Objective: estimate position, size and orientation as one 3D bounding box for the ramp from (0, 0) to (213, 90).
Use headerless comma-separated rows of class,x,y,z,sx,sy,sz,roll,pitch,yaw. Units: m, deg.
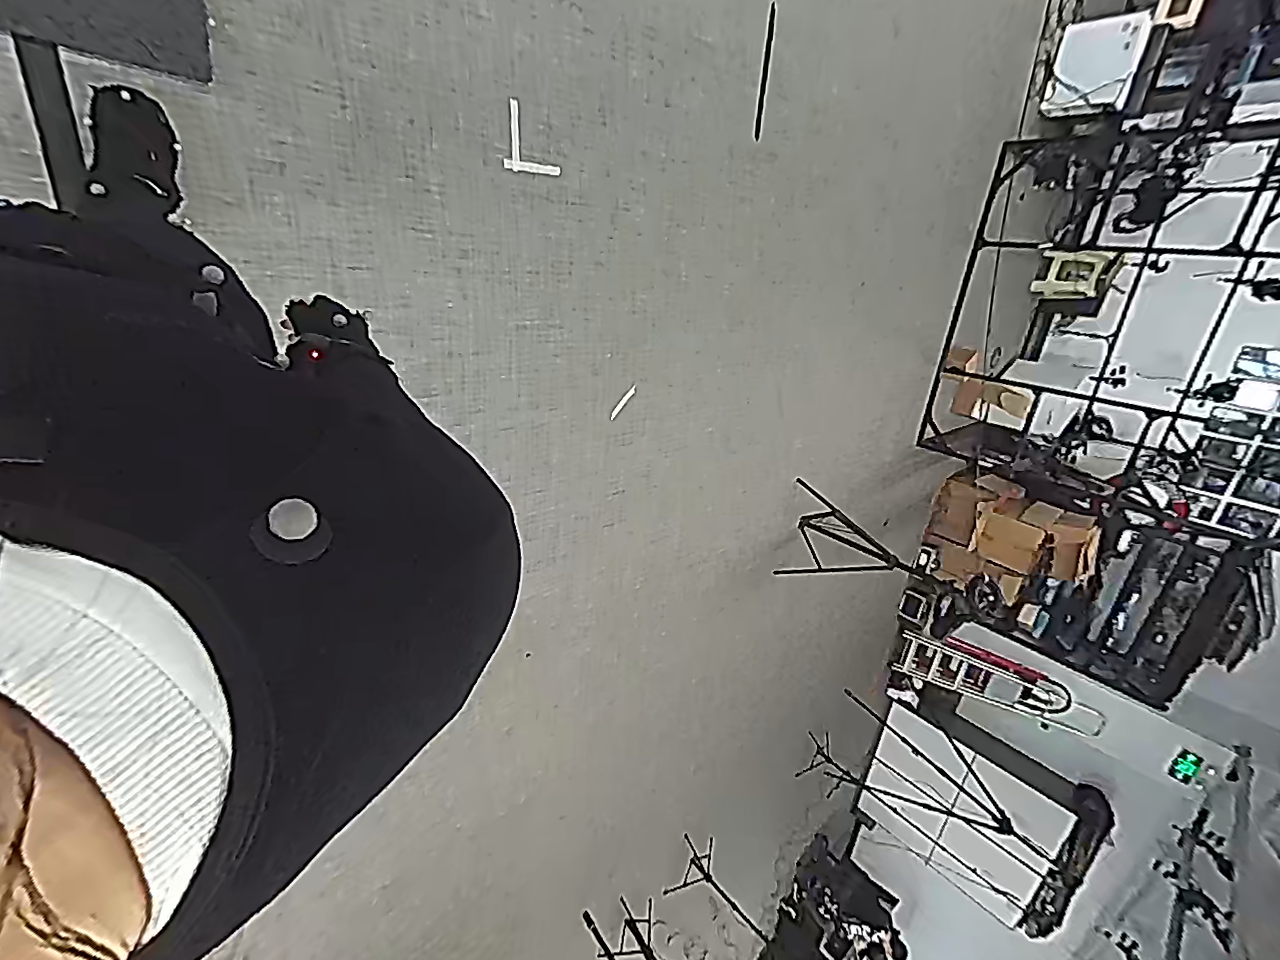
ramp,-0.881,-1.117,0.635,0.509,0.206,0.991,-16,119,-40
